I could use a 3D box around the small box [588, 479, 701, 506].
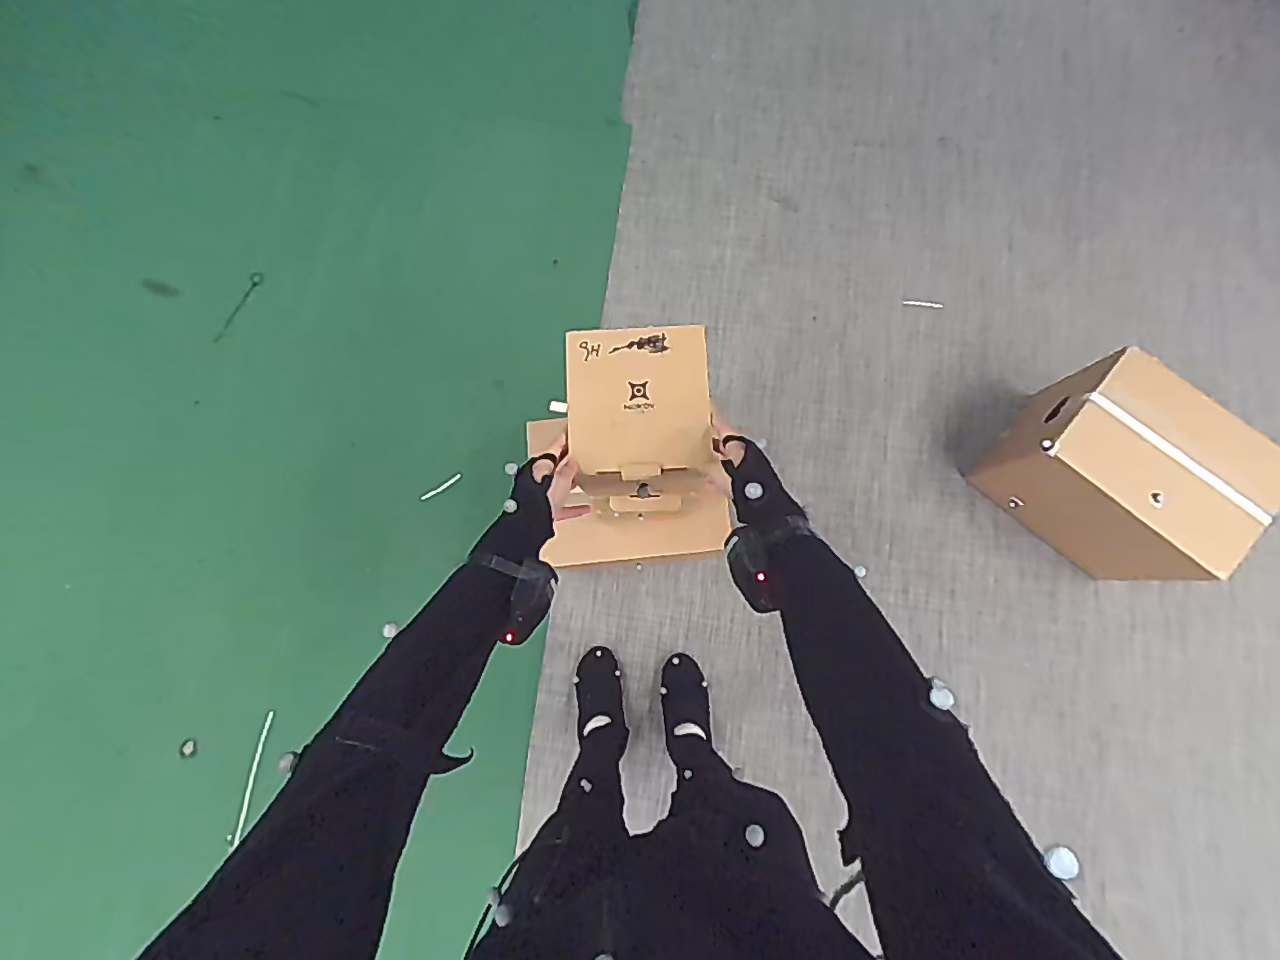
[{"bbox_3d":[0.010,-0.051,0.860,0.168,0.176,0.179,-2,80,2],"label":"small box"}]

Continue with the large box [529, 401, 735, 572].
[{"bbox_3d":[-0.013,0.035,1.260,0.408,0.320,0.320,-7,78,2],"label":"large box"}]

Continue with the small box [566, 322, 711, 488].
[{"bbox_3d":[0.000,-0.084,0.699,0.168,0.176,0.179,-3,81,1],"label":"small box"}]

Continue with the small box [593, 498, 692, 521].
[{"bbox_3d":[0.005,-0.016,1.020,0.179,0.176,0.168,-3,80,1],"label":"small box"}]
